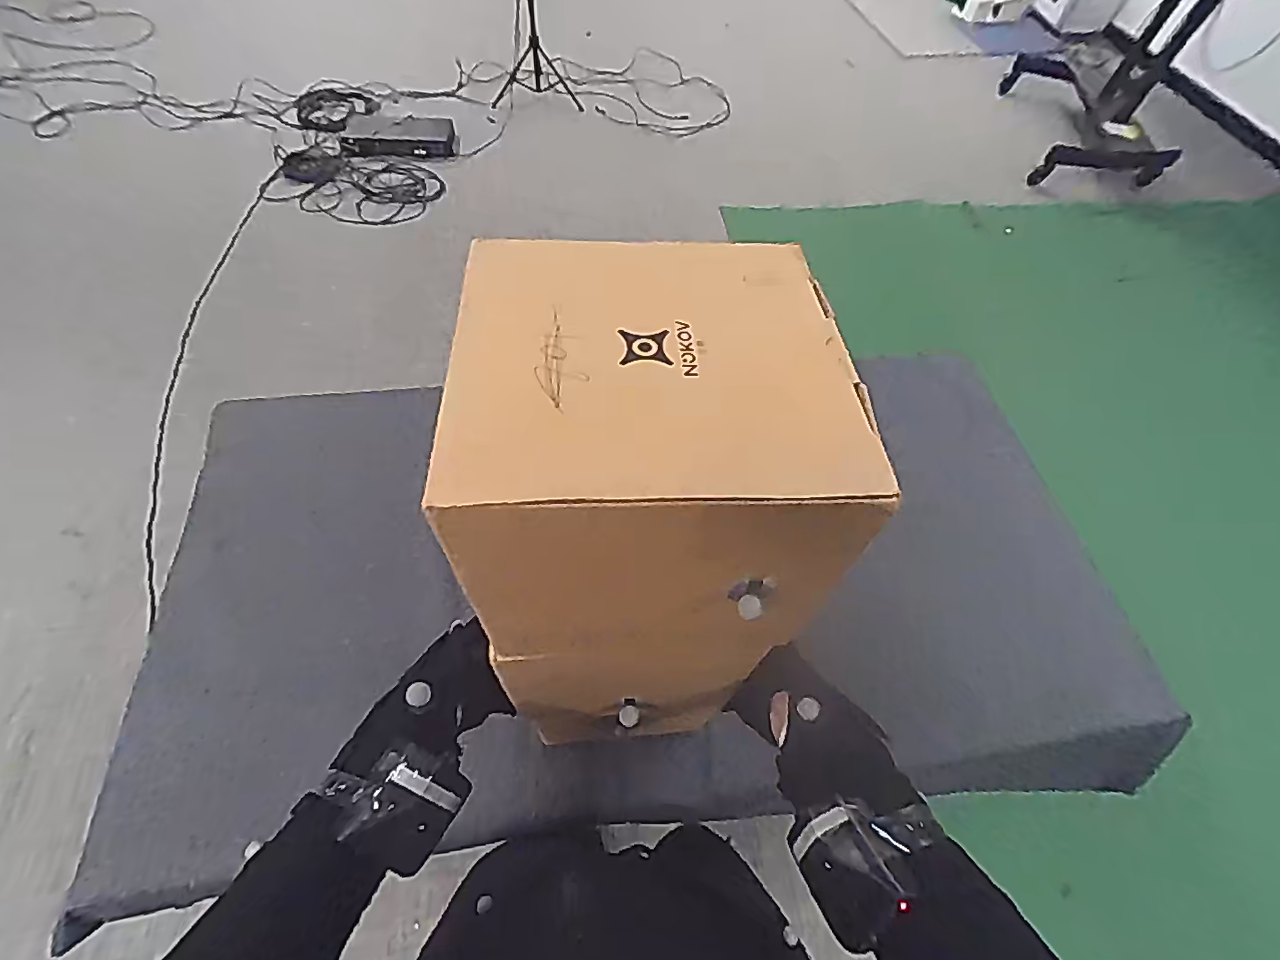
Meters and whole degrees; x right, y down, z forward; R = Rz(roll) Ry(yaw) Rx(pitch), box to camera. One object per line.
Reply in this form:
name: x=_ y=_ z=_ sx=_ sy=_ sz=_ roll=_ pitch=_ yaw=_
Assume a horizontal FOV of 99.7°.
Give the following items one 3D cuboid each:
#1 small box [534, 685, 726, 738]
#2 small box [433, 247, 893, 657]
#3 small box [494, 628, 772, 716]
small box: x=-0.020 y=0.170 z=0.581 sx=0.179 sy=0.176 sz=0.168 roll=-3 pitch=55 yaw=-5
small box: x=0.002 y=-0.008 z=0.309 sx=0.179 sy=0.176 sz=0.168 roll=-2 pitch=54 yaw=-5
small box: x=-0.014 y=0.084 z=0.441 sx=0.179 sy=0.176 sz=0.168 roll=-2 pitch=54 yaw=-6
